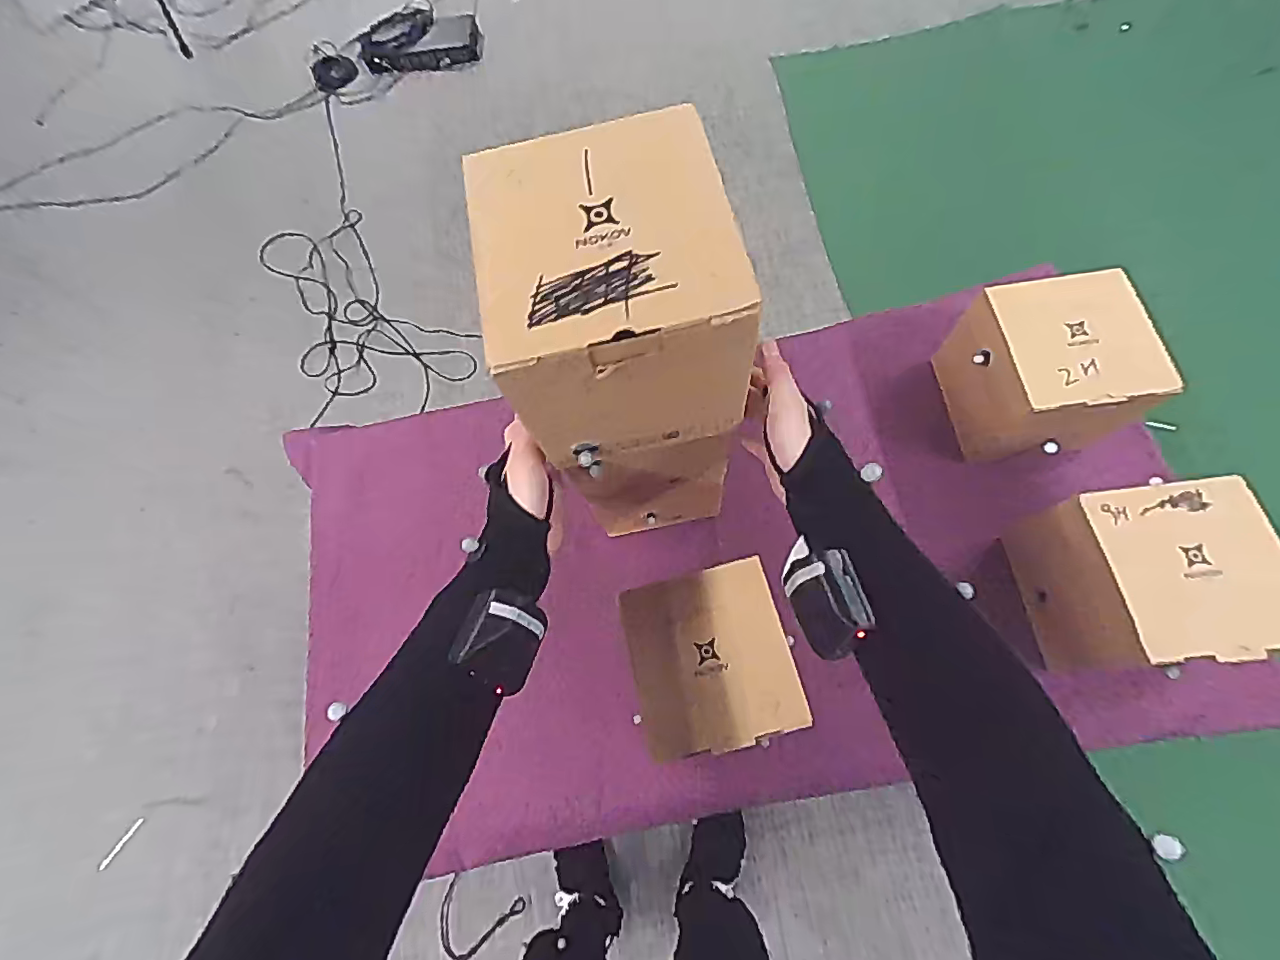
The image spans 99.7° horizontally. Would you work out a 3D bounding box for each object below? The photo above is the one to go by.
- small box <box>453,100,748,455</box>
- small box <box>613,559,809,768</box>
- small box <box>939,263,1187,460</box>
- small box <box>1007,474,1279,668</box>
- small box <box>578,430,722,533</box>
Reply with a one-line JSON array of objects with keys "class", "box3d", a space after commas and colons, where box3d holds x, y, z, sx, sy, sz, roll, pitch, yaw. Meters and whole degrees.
[{"class": "small box", "box3d": [-0.022, -0.131, 0.409, 0.168, 0.176, 0.179, -13, 70, 2]}, {"class": "small box", "box3d": [0.076, 0.208, 0.625, 0.168, 0.176, 0.179, -14, 68, 1]}, {"class": "small box", "box3d": [0.518, -0.144, 0.699, 0.168, 0.176, 0.179, -7, 69, 5]}, {"class": "small box", "box3d": [0.556, 0.111, 0.601, 0.168, 0.176, 0.179, -7, 68, 4]}, {"class": "small box", "box3d": [0.008, -0.044, 0.726, 0.168, 0.176, 0.179, -12, 70, 2]}]
